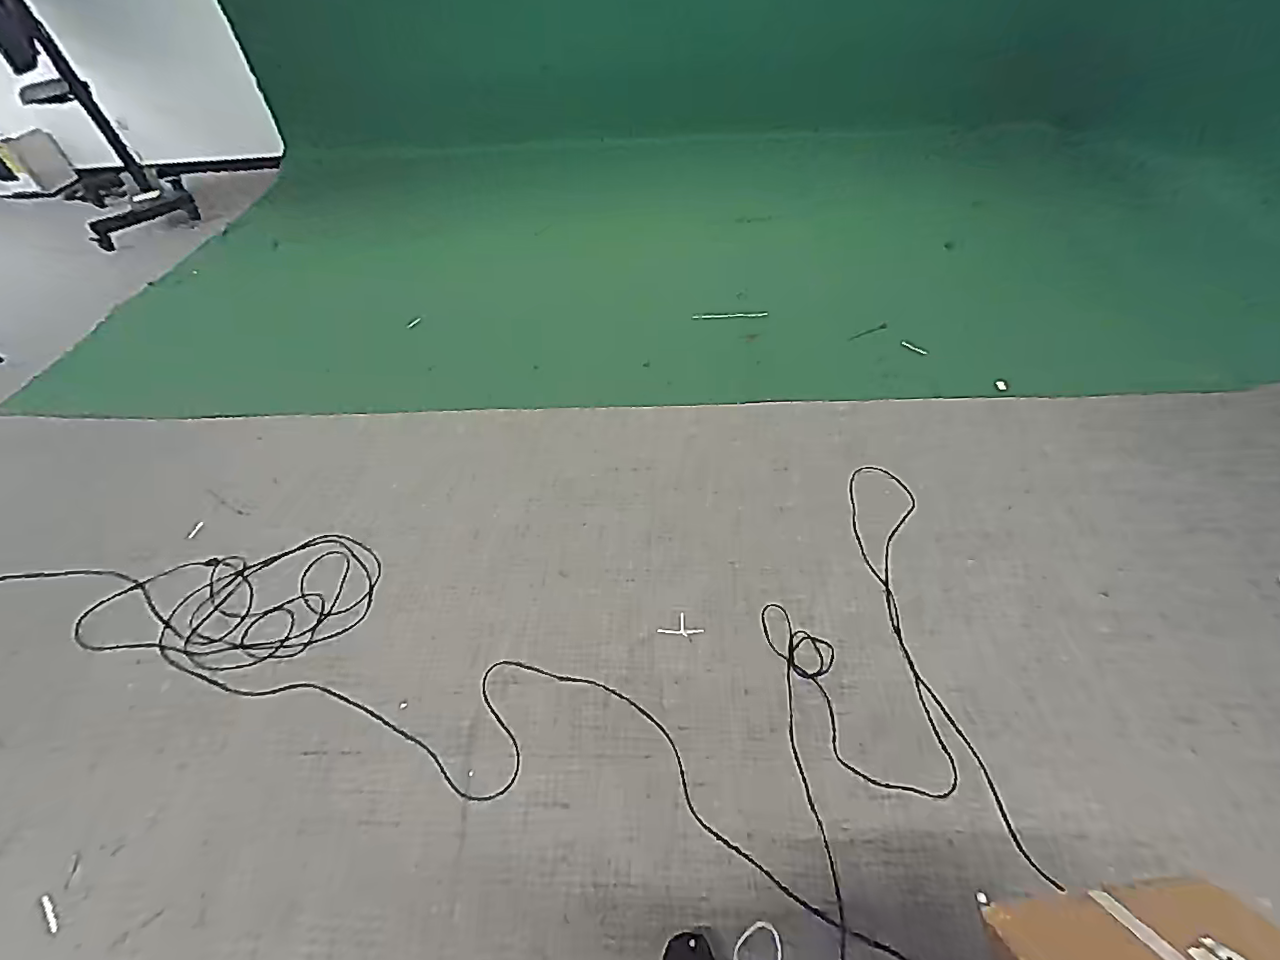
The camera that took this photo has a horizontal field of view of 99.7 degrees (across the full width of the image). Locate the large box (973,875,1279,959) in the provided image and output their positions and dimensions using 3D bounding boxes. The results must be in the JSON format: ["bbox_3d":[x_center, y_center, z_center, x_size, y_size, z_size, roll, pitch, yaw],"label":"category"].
[{"bbox_3d":[0.635,0.709,0.550,0.320,0.408,0.320,-8,85,2],"label":"large box"}]
